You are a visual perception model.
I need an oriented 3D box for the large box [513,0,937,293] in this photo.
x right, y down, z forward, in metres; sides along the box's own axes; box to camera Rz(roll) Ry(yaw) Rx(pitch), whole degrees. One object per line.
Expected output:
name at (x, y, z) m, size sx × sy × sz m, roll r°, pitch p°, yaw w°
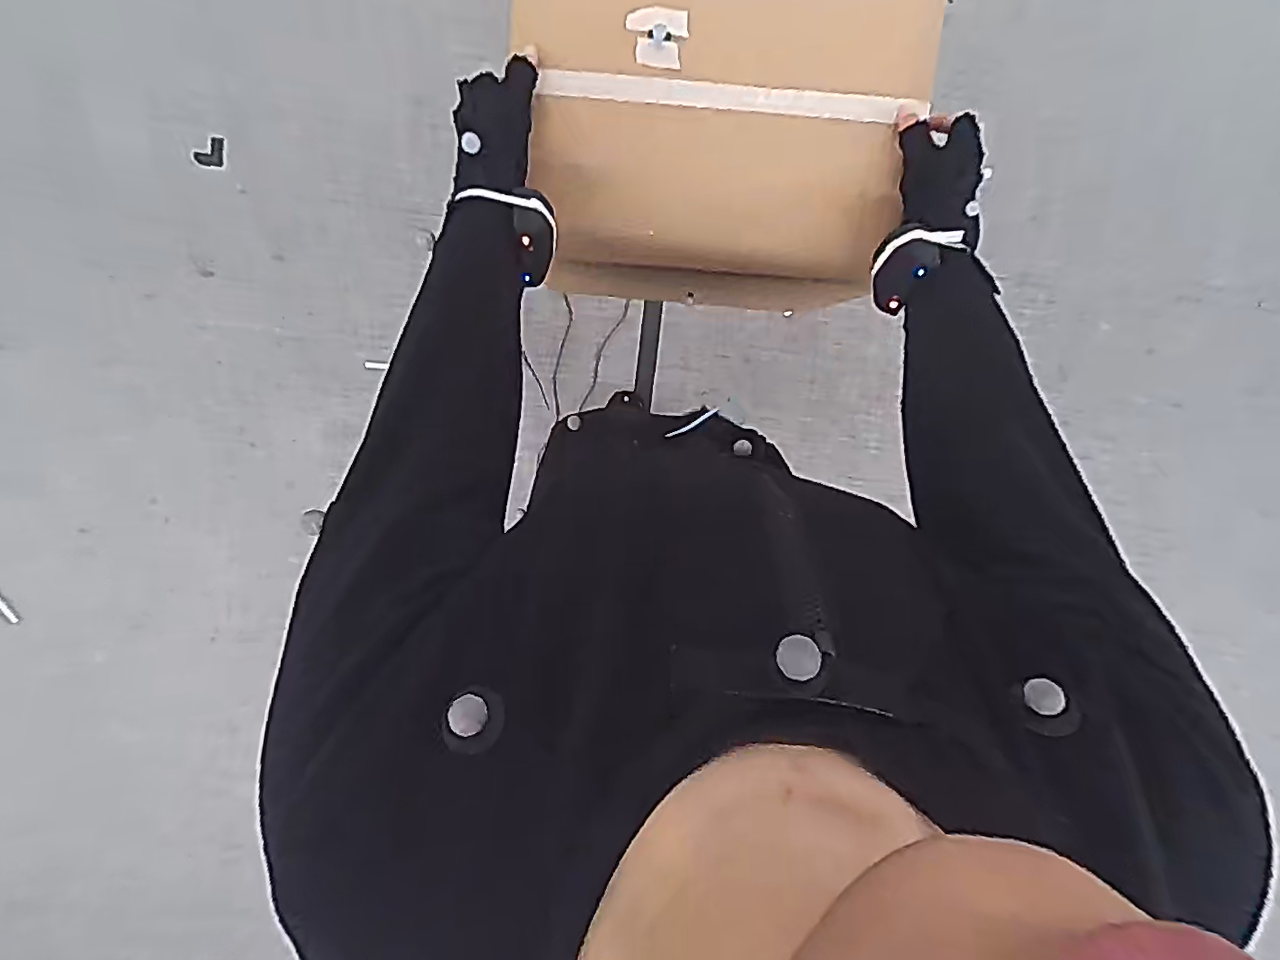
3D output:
large box at (0.077, -0.415, 0.670) m, size 0.408 × 0.320 × 0.320 m, roll 4°, pitch 103°, yaw -2°
